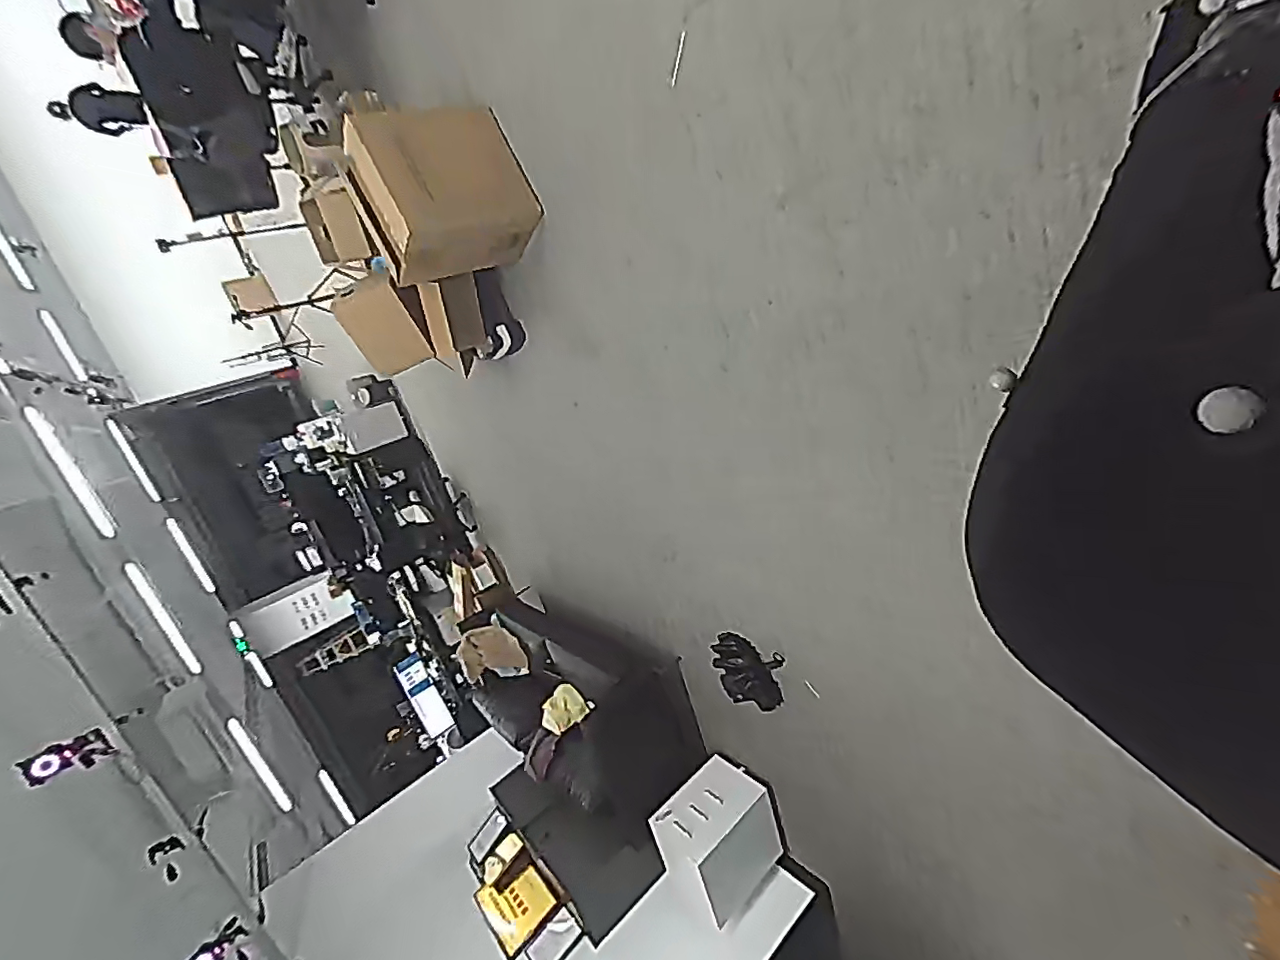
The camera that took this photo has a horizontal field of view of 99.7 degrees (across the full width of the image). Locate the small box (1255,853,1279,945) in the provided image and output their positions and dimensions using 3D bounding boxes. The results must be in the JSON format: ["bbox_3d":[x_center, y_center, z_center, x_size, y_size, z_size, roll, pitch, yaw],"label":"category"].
[{"bbox_3d":[1.514,0.977,1.198,0.179,0.176,0.168,9,121,50],"label":"small box"}]
